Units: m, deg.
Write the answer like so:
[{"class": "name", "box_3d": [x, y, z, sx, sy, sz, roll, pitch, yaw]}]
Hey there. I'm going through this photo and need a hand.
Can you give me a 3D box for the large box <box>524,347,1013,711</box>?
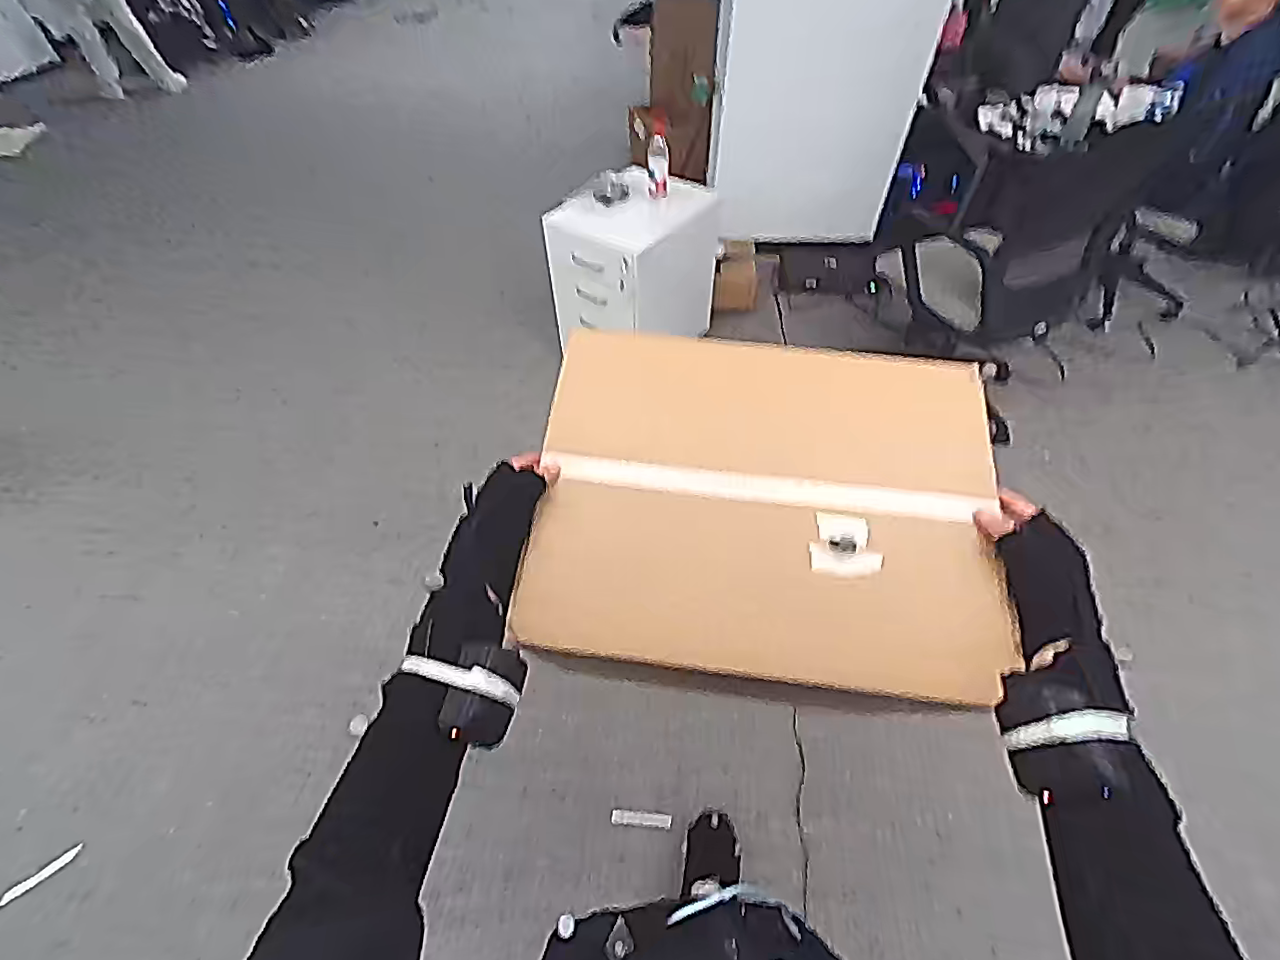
[{"class": "large box", "box_3d": [0.114, 0.079, 0.629, 0.408, 0.320, 0.320, 7, 67, 3]}]
